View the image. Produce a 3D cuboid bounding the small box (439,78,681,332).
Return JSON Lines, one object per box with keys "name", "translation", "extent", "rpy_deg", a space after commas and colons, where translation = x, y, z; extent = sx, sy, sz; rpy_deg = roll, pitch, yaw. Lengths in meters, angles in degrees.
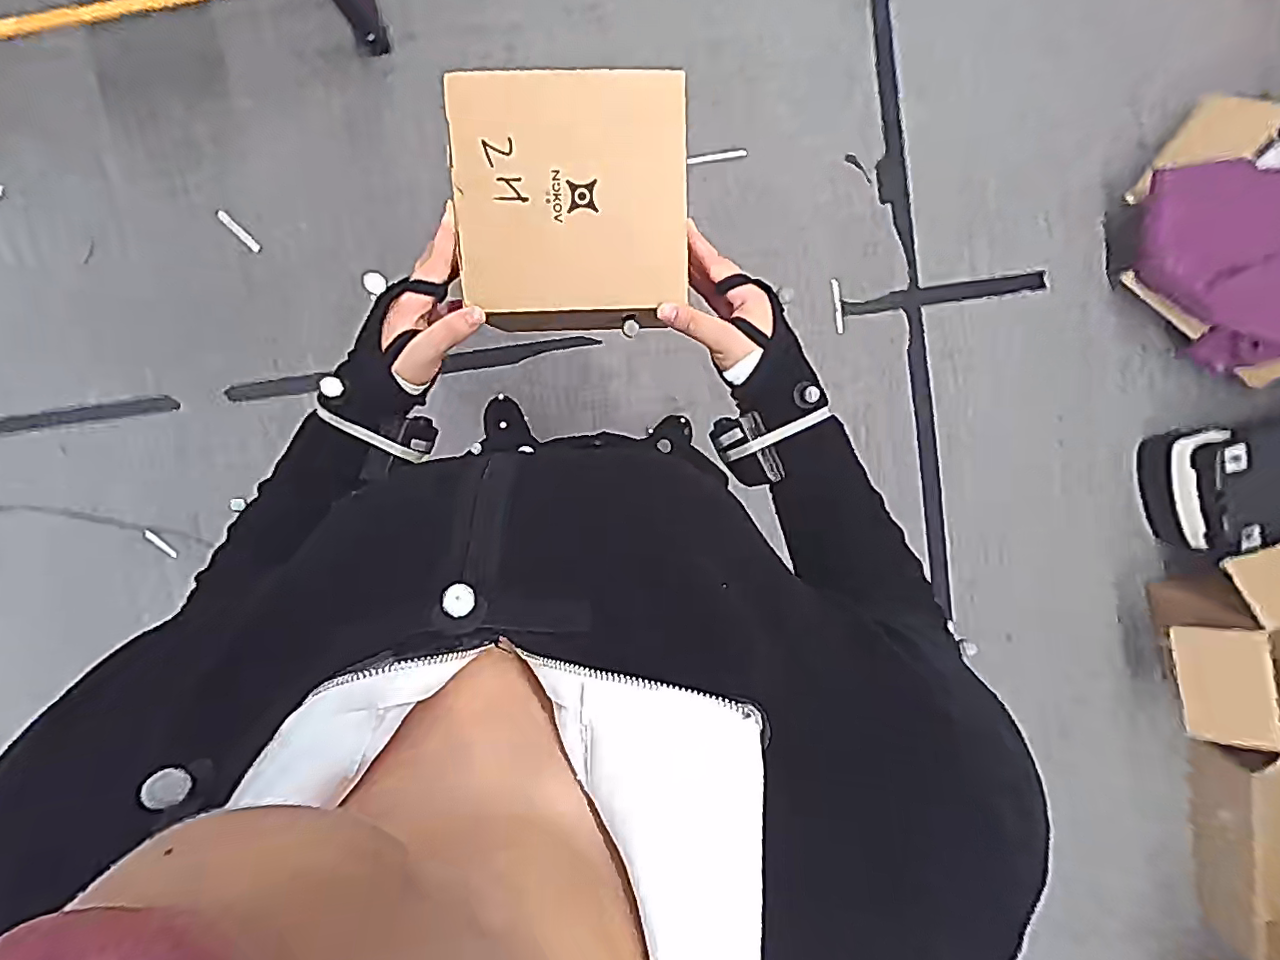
{"name": "small box", "translation": [-0.061, -0.227, 0.488], "extent": [0.179, 0.176, 0.168], "rpy_deg": [-3, 100, -2]}
